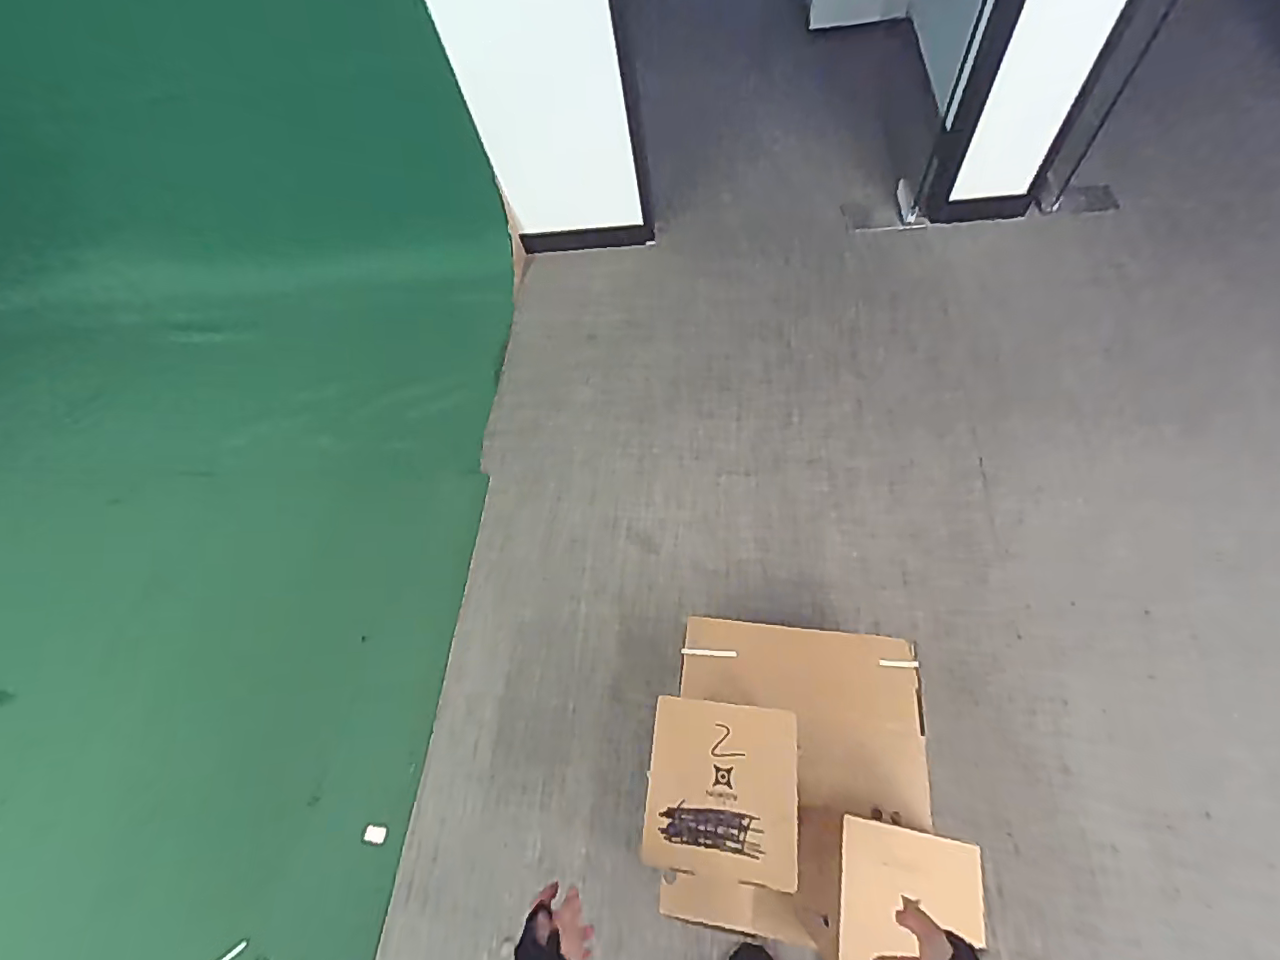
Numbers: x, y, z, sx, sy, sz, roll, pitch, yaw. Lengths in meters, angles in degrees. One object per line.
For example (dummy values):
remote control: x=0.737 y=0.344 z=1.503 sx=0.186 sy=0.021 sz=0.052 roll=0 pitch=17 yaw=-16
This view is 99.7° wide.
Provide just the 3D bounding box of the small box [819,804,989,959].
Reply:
small box: x=0.340 y=0.554 z=0.722 sx=0.168 sy=0.176 sz=0.179 roll=7 pitch=63 yaw=11

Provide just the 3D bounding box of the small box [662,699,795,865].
small box: x=0.135 y=0.447 z=0.814 sx=0.168 sy=0.176 sz=0.179 roll=5 pitch=62 yaw=13
